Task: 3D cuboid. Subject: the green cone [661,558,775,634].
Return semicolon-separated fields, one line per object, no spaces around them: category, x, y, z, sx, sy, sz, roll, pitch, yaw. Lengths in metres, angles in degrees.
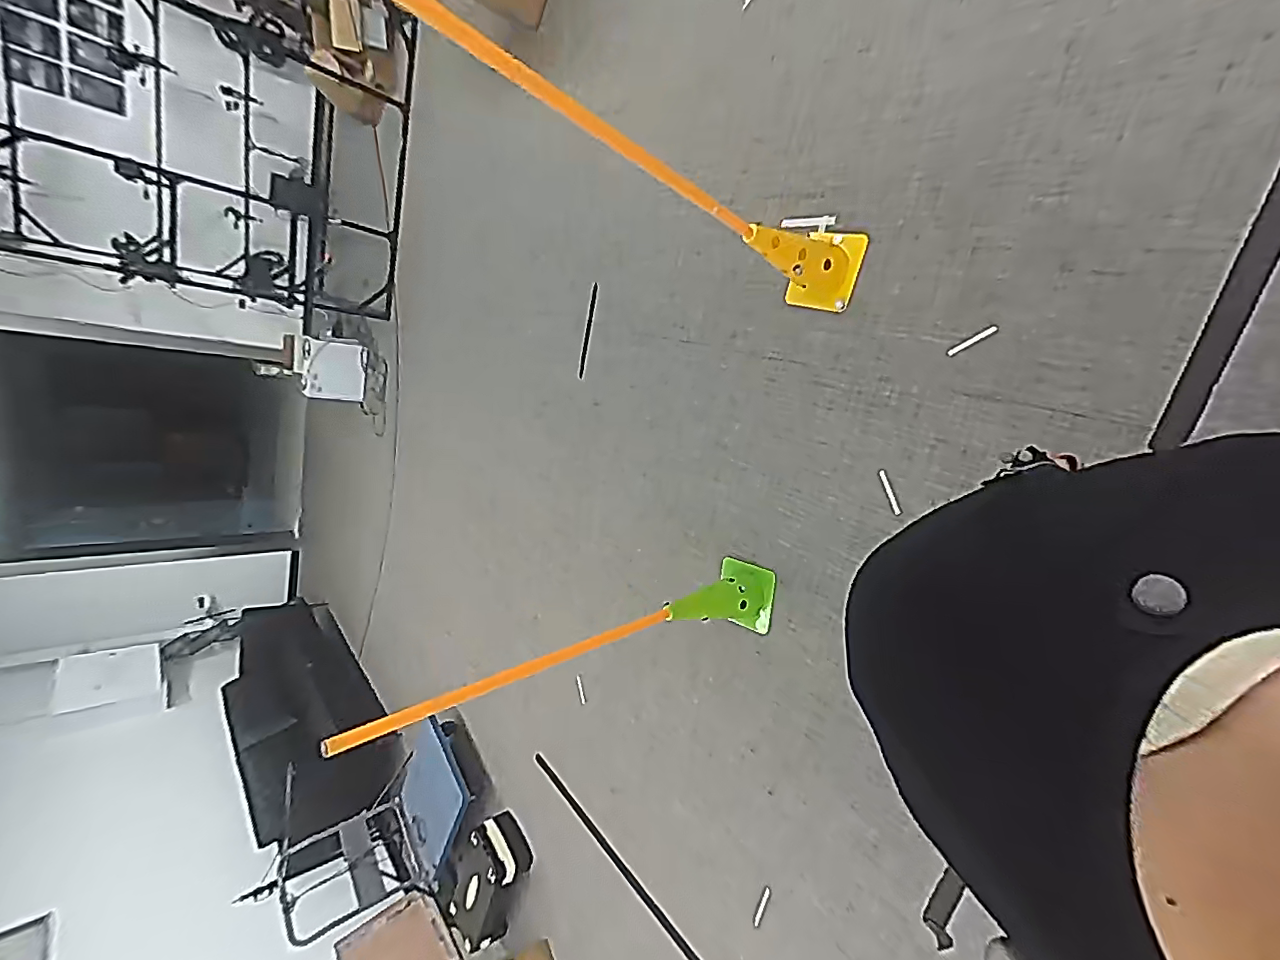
green cone;0.202;0.356;1.571;0.200;0.368;0.202;12;98;46
